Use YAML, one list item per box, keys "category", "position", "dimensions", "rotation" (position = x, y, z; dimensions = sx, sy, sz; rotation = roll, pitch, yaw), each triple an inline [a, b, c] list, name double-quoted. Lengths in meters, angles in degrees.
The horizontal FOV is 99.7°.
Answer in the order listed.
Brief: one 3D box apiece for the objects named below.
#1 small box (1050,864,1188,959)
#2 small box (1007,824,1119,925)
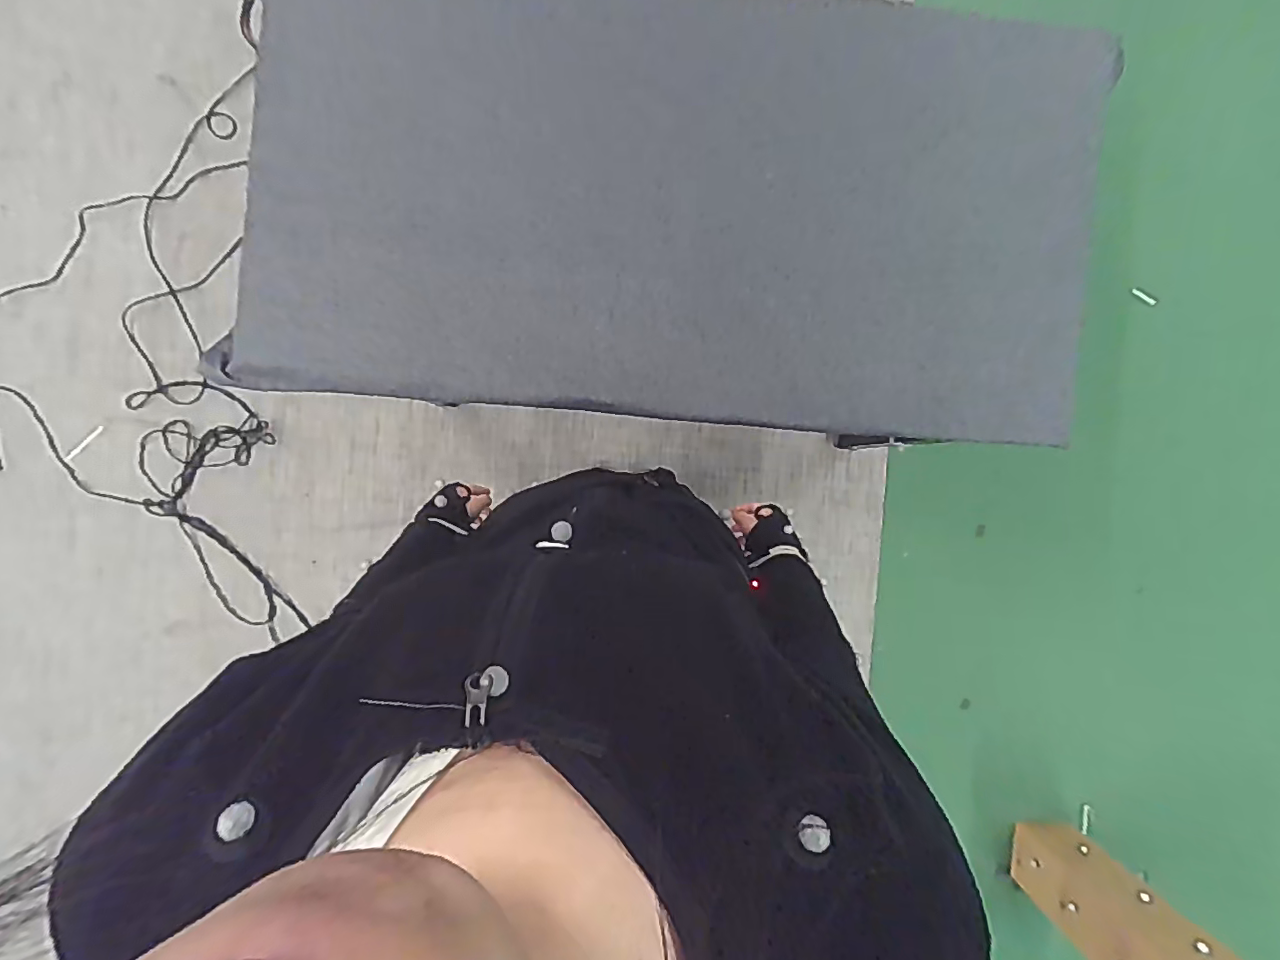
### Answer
- category: "small box"
  position: [1.150, 1.073, 1.309]
  dimensions: [0.179, 0.176, 0.168]
  rotation: [7, 90, -2]
- category: "small box"
  position: [1.144, 1.073, 1.474]
  dimensions: [0.179, 0.176, 0.168]
  rotation: [5, 91, -2]
